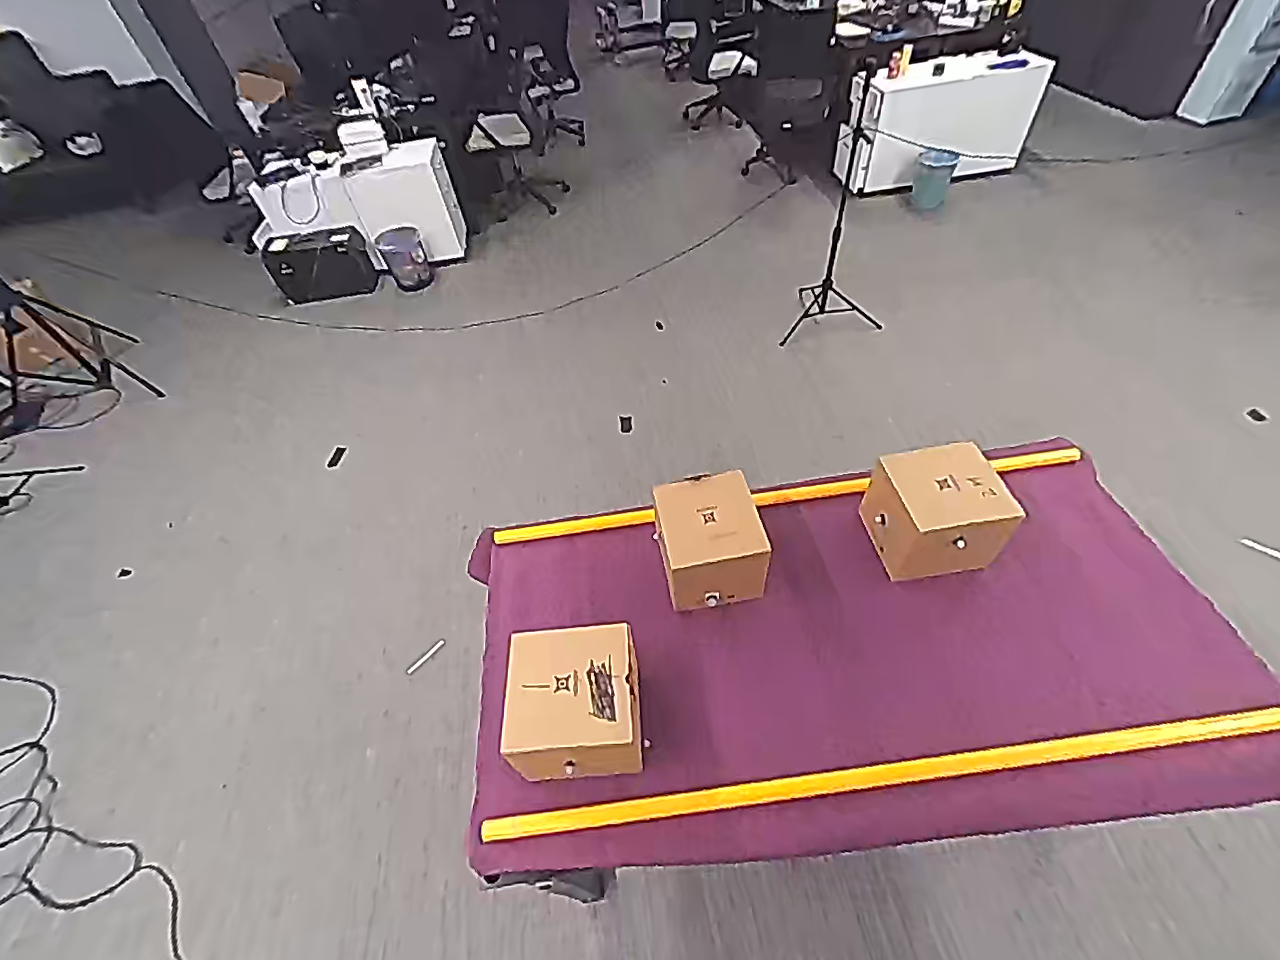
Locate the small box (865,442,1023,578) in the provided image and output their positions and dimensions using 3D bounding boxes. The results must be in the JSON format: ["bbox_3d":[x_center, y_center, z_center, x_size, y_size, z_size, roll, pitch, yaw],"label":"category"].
[{"bbox_3d":[0.520,0.059,0.964,0.179,0.176,0.168,-9,51,-1],"label":"small box"}]

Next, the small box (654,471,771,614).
[{"bbox_3d":[0.122,0.114,0.968,0.168,0.176,0.179,-11,50,-2],"label":"small box"}]

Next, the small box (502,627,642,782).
[{"bbox_3d":[-0.090,0.335,0.802,0.179,0.176,0.168,-6,49,1],"label":"small box"}]
